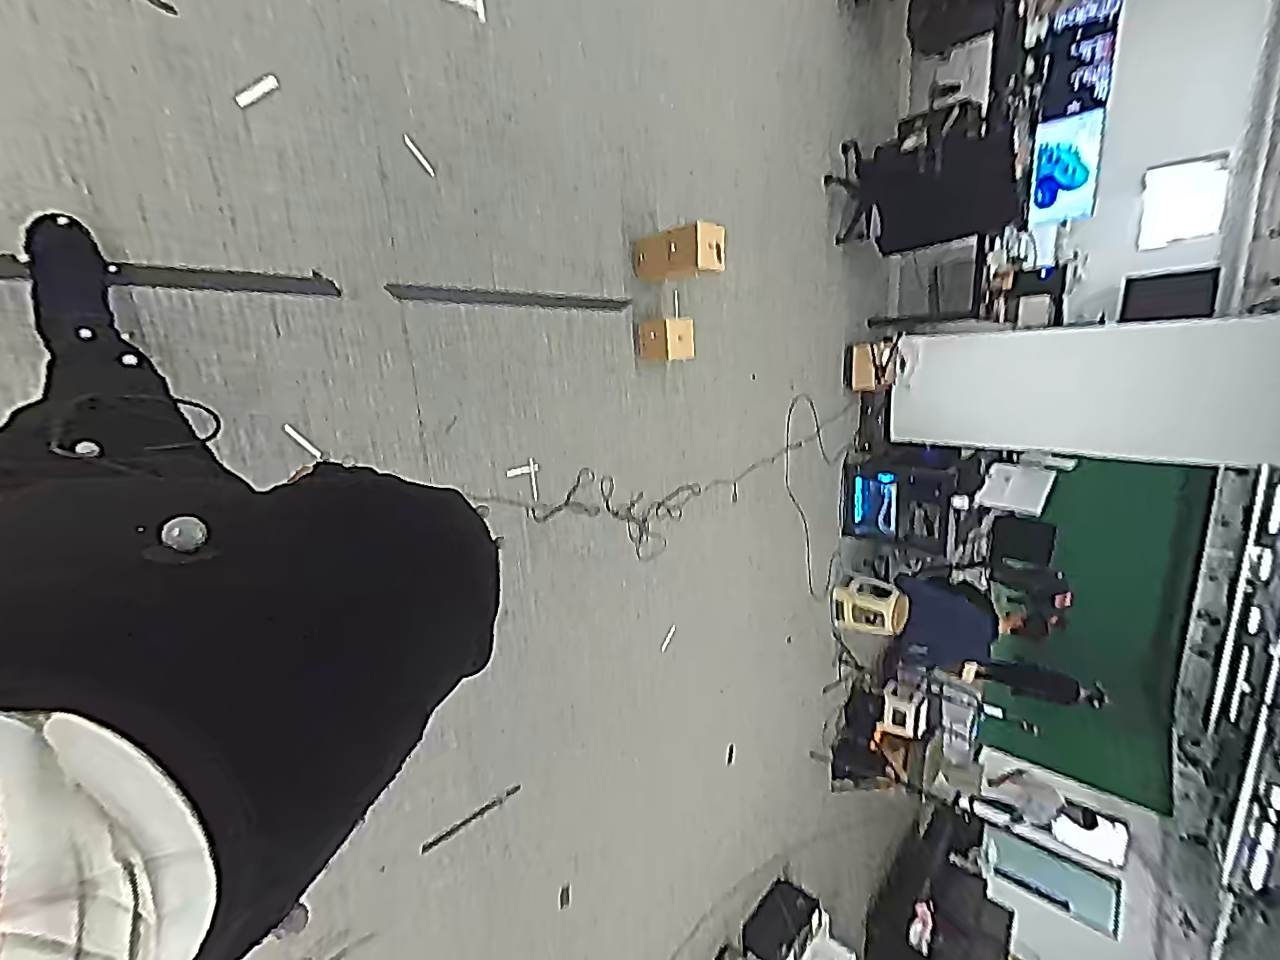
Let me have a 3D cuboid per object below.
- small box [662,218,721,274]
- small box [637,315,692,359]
[{"bbox_3d":[0.204,-0.920,2.143,0.179,0.176,0.168,-14,106,-44],"label":"small box"},{"bbox_3d":[0.101,-0.615,2.325,0.179,0.176,0.168,-20,110,-44],"label":"small box"}]
